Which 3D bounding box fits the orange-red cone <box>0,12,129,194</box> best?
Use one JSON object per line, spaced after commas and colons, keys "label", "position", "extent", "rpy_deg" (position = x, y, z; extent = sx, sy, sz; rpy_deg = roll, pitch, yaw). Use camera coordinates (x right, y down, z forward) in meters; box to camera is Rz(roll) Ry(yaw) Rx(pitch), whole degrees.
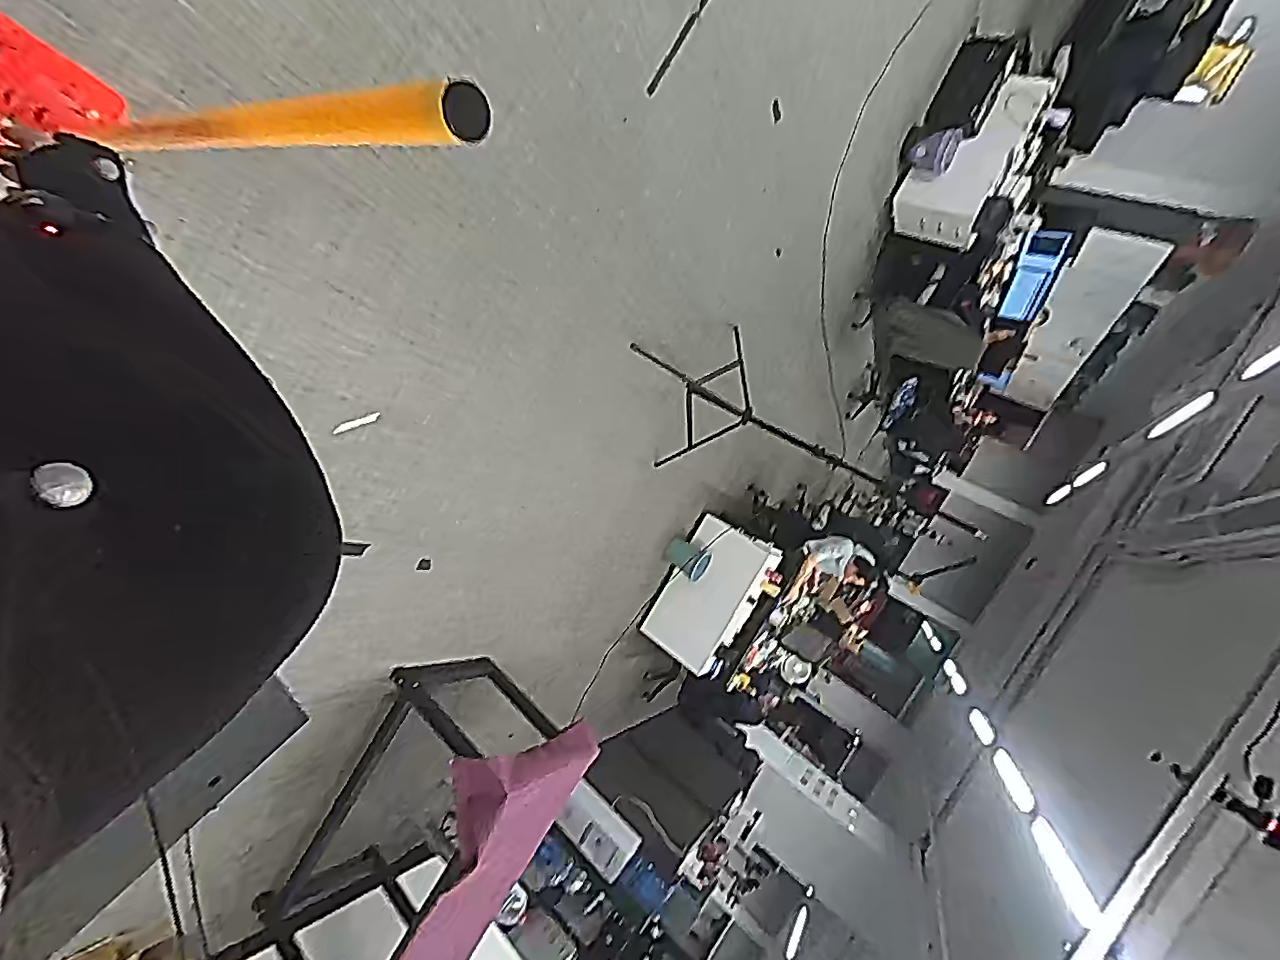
{"label": "orange-red cone", "position": [-0.849, -0.514, 0.781], "extent": [0.199, 0.360, 0.198], "rpy_deg": [-58, 152, 0]}
